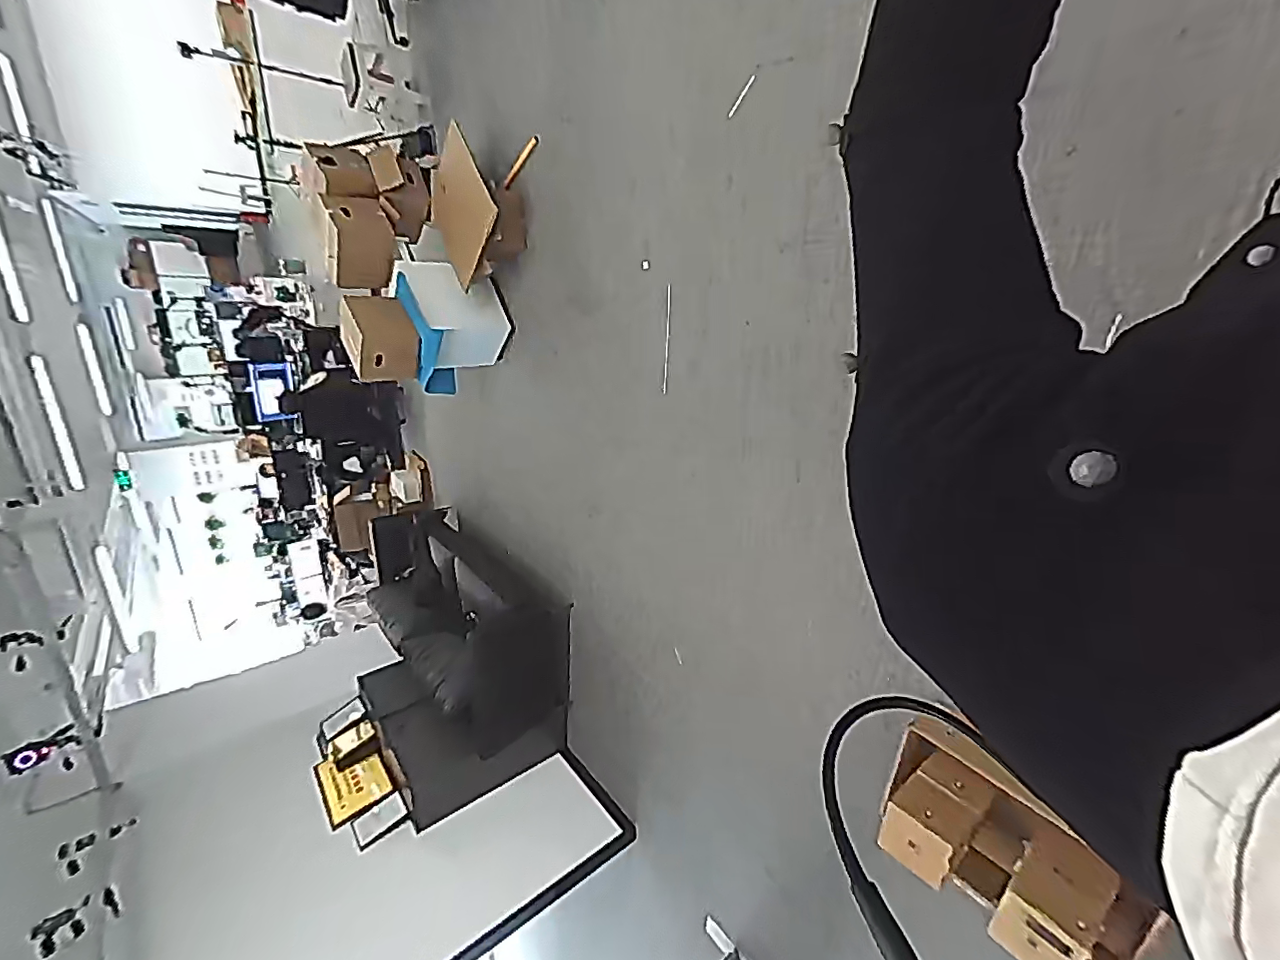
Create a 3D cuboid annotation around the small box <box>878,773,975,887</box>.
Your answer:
[{"bbox_3d":[0.808,0.972,1.520,0.179,0.176,0.168,25,118,46],"label":"small box"}]
